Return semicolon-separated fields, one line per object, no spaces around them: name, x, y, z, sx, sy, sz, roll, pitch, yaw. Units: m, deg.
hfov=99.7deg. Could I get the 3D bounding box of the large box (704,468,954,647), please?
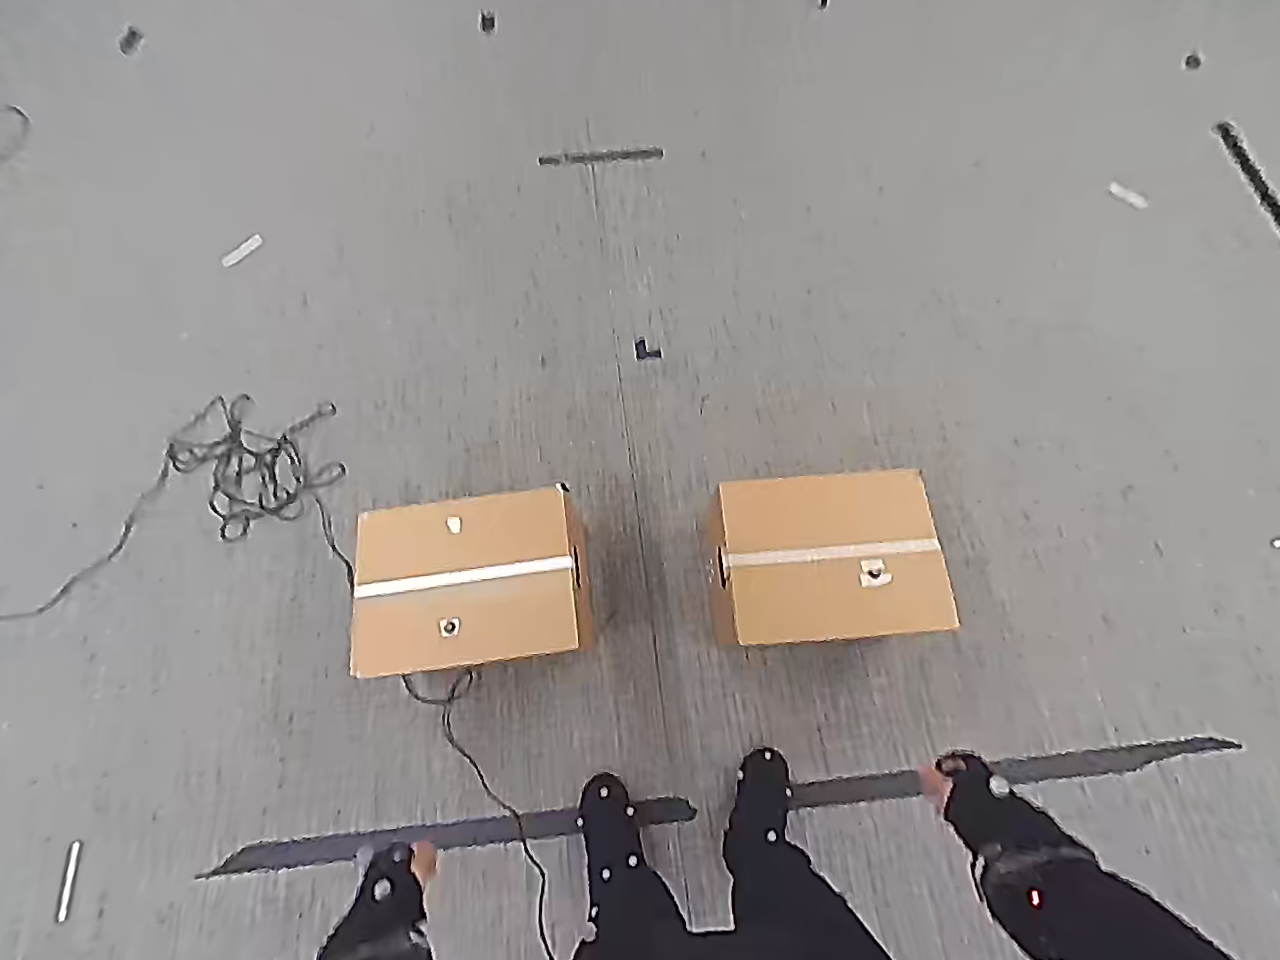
large box;0.368;0.183;1.172;0.408;0.320;0.320;-4;72;-1
